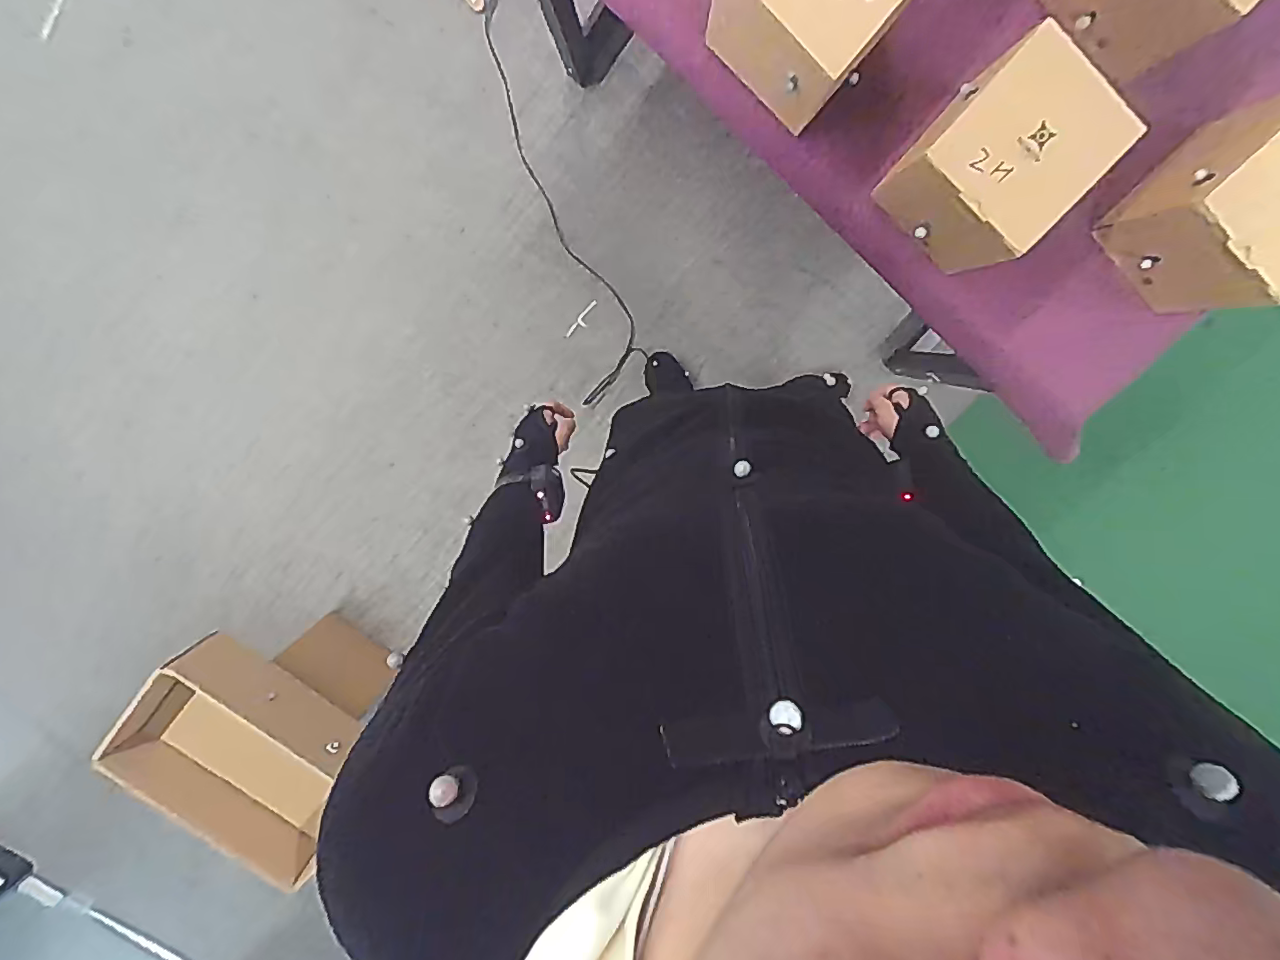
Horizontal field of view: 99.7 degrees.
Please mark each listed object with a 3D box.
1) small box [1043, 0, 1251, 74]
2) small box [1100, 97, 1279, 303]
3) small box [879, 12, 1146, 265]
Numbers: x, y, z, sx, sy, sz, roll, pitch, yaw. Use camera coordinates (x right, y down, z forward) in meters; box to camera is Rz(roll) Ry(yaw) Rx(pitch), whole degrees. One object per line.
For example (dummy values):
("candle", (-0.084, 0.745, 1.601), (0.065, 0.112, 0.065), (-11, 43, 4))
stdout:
("small box", (0.616, -0.618, 0.603), (0.168, 0.176, 0.179), (39, 104, -6))
("small box", (0.746, -0.343, 0.670), (0.168, 0.176, 0.179), (42, 104, -7))
("small box", (0.438, -0.398, 0.671), (0.168, 0.176, 0.179), (41, 103, -7))
